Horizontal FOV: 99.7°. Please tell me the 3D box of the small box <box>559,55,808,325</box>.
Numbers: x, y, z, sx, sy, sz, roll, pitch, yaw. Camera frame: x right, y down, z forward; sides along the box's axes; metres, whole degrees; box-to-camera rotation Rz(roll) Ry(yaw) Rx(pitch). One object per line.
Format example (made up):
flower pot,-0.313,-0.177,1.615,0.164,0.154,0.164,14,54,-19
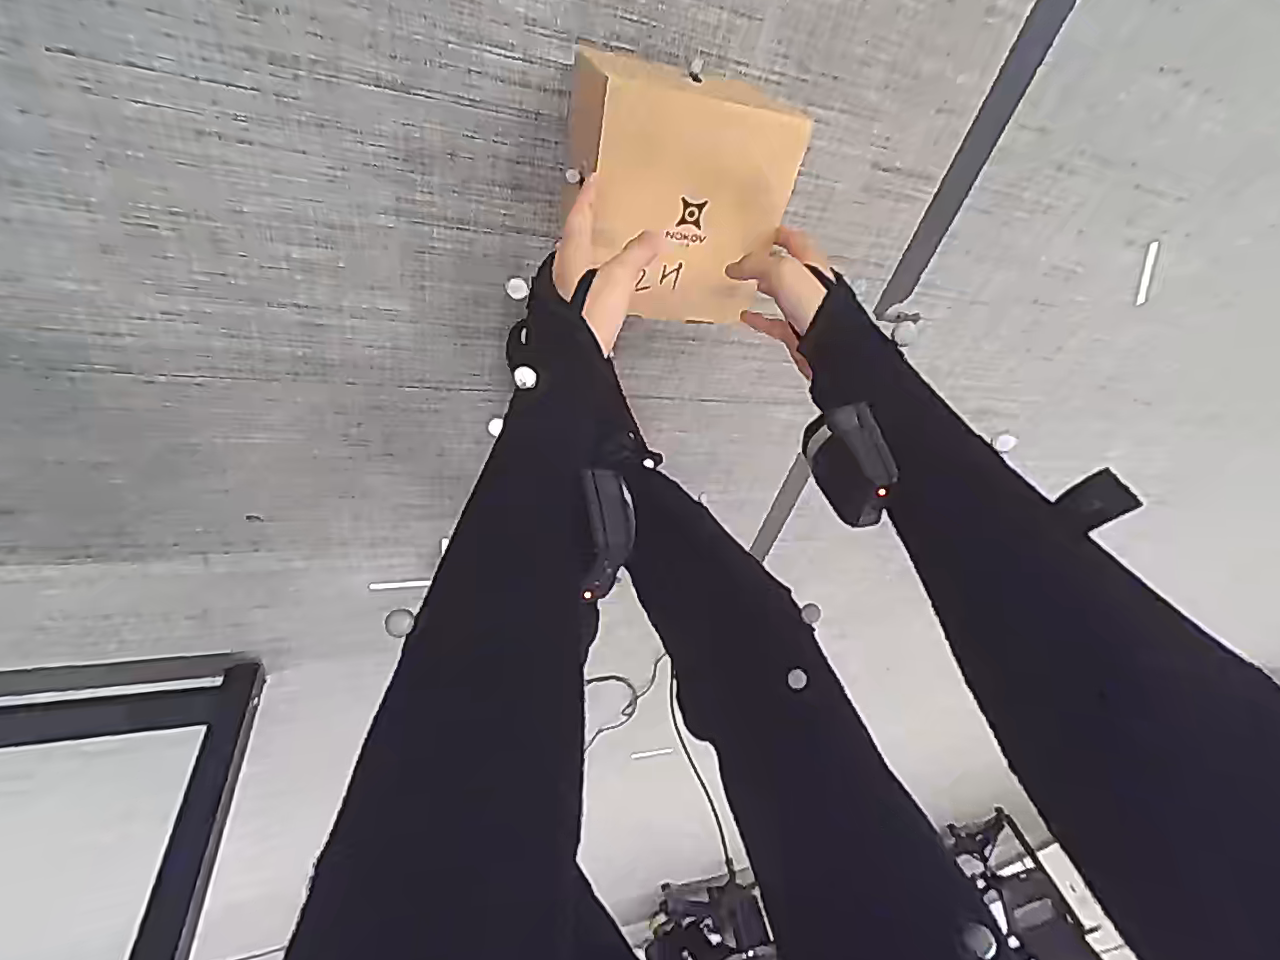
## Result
small box,0.020,-0.268,0.504,0.168,0.176,0.179,0,133,-17
